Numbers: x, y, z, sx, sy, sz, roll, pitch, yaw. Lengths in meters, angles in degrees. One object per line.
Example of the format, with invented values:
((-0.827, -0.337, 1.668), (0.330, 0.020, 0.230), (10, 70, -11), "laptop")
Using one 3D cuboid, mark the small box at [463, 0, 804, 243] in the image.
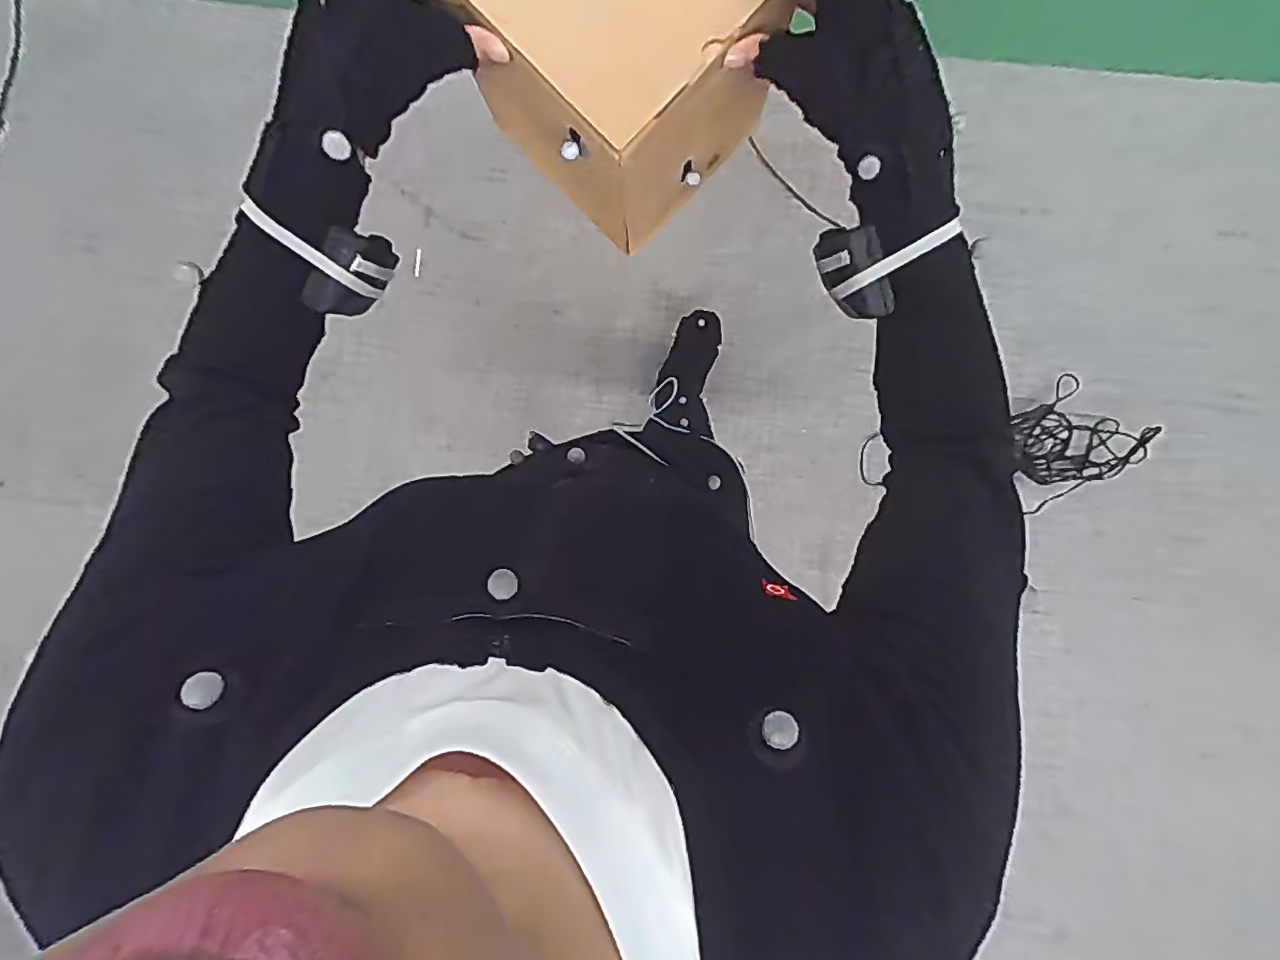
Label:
((-0.010, -0.321, 0.411), (0.168, 0.176, 0.179), (-45, 92, 2), "small box")
